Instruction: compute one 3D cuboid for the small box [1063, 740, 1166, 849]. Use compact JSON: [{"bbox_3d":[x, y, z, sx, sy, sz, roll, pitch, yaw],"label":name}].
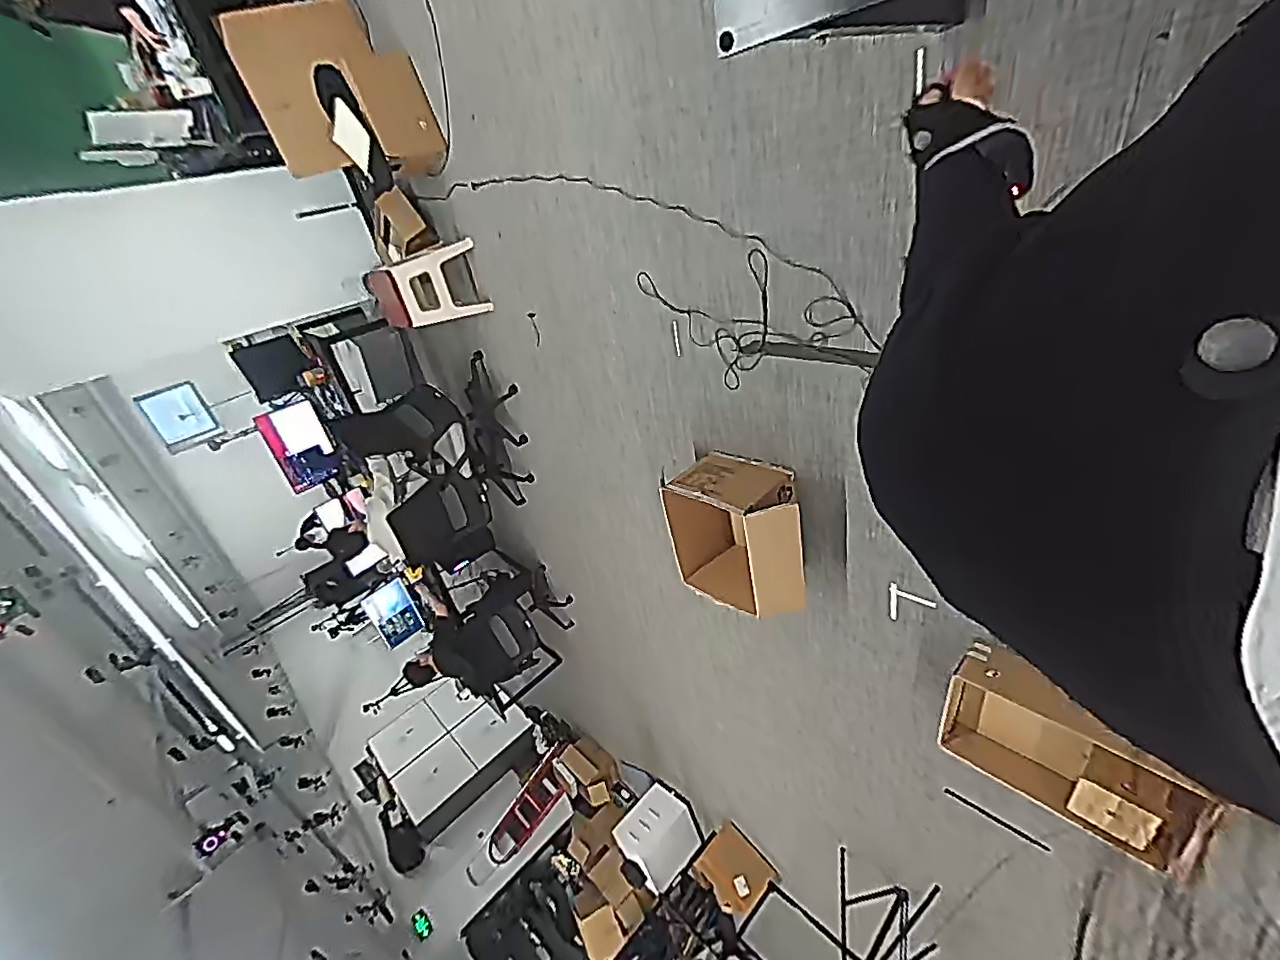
[{"bbox_3d":[1.361,0.891,1.549,0.179,0.176,0.168,23,132,43],"label":"small box"}]
